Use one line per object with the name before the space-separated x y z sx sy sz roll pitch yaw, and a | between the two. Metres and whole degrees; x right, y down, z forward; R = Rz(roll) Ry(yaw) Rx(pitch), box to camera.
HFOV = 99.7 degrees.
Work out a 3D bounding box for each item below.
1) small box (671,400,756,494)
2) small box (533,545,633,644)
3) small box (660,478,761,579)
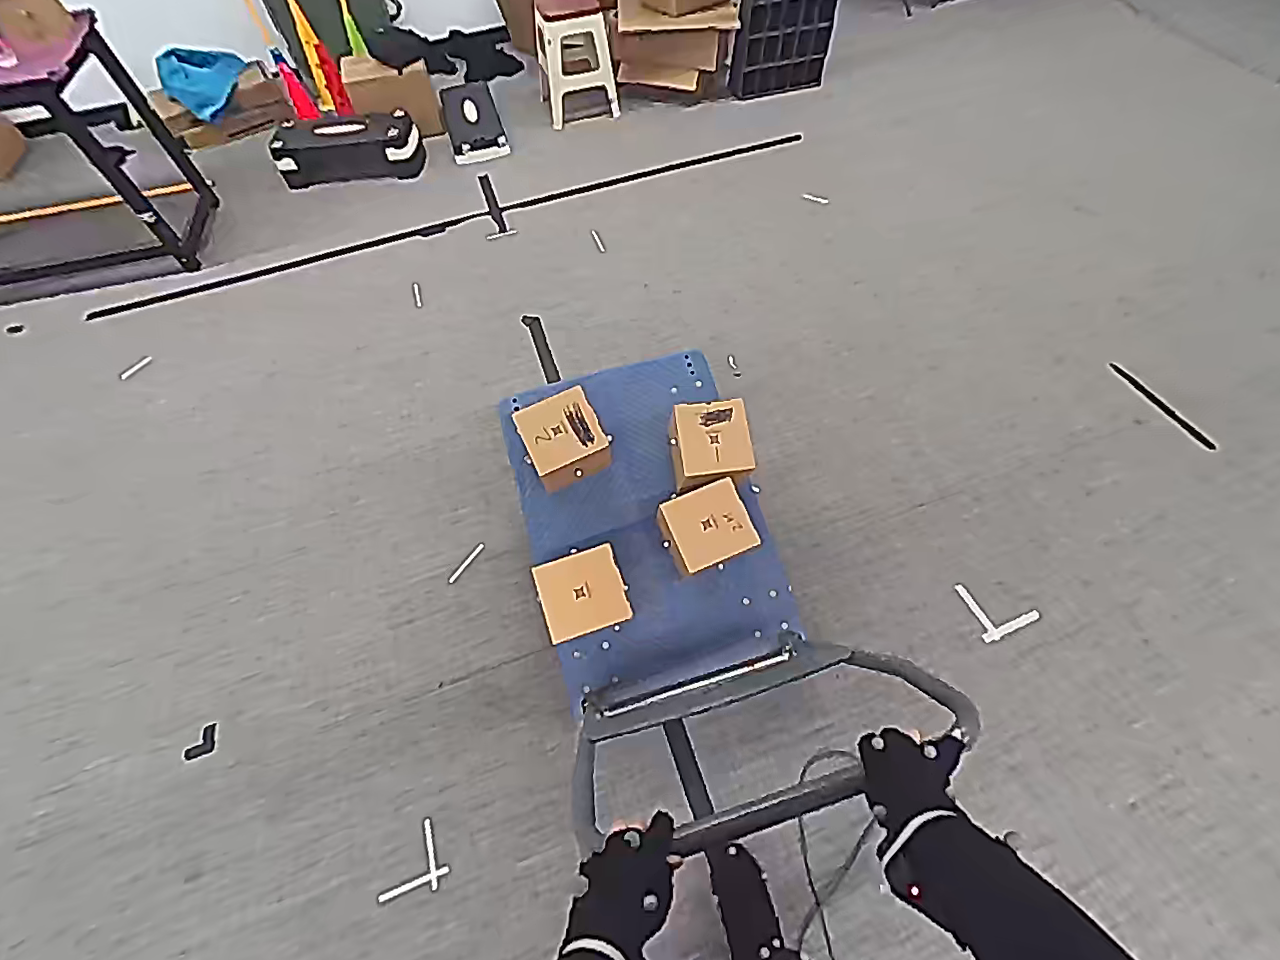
small box | 0.170 -0.075 1.311 0.168 0.176 0.179 -7 75 -3
small box | -0.122 0.261 1.210 0.179 0.176 0.168 -18 75 -8
small box | 0.154 0.120 1.255 0.179 0.176 0.168 -22 76 -7
